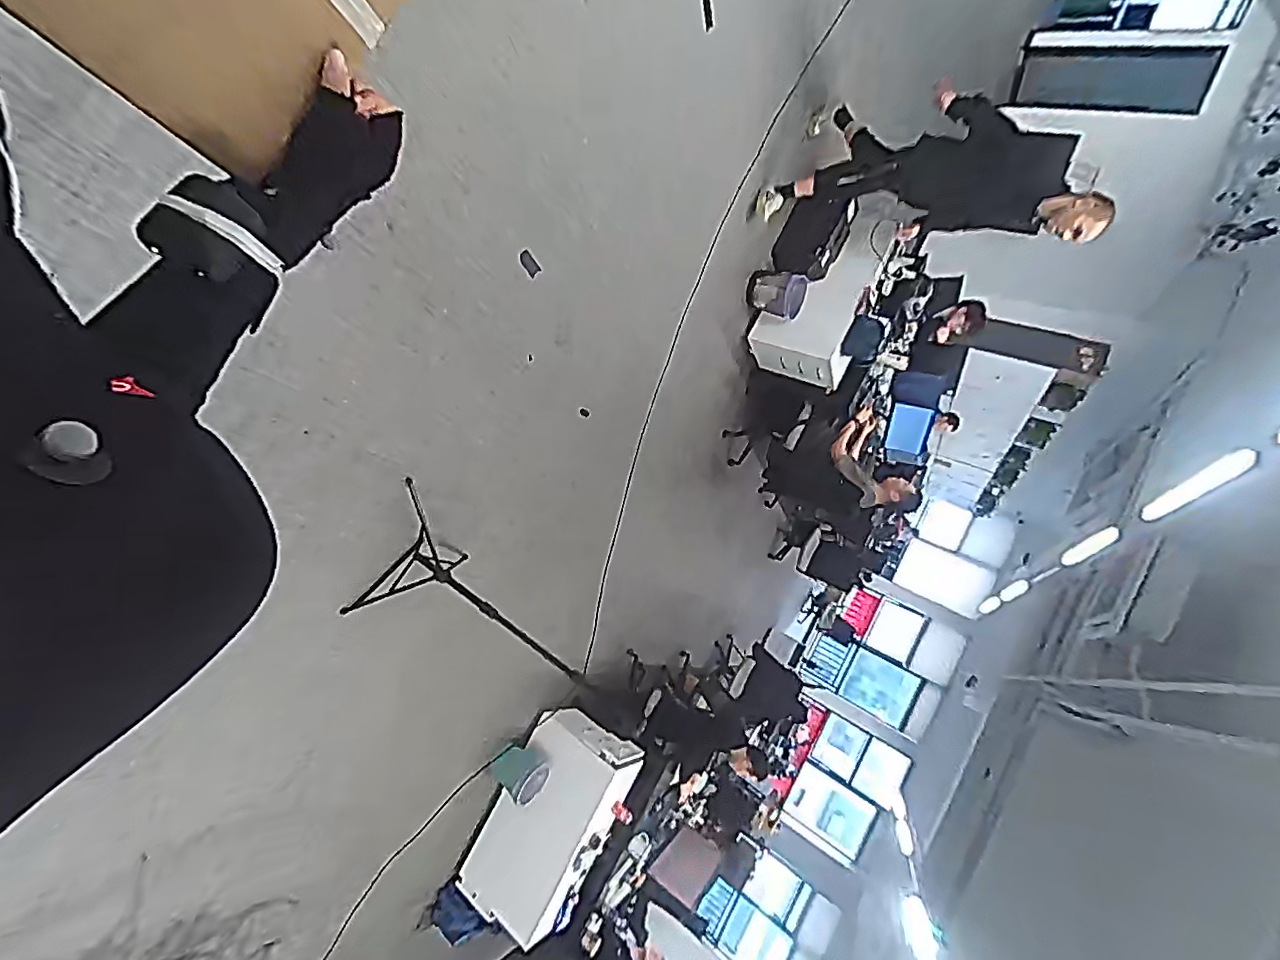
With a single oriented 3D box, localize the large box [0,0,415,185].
[{"bbox_3d":[-0.393,-0.494,0.334,0.320,0.320,0.408,-50,154,1],"label":"large box"}]
